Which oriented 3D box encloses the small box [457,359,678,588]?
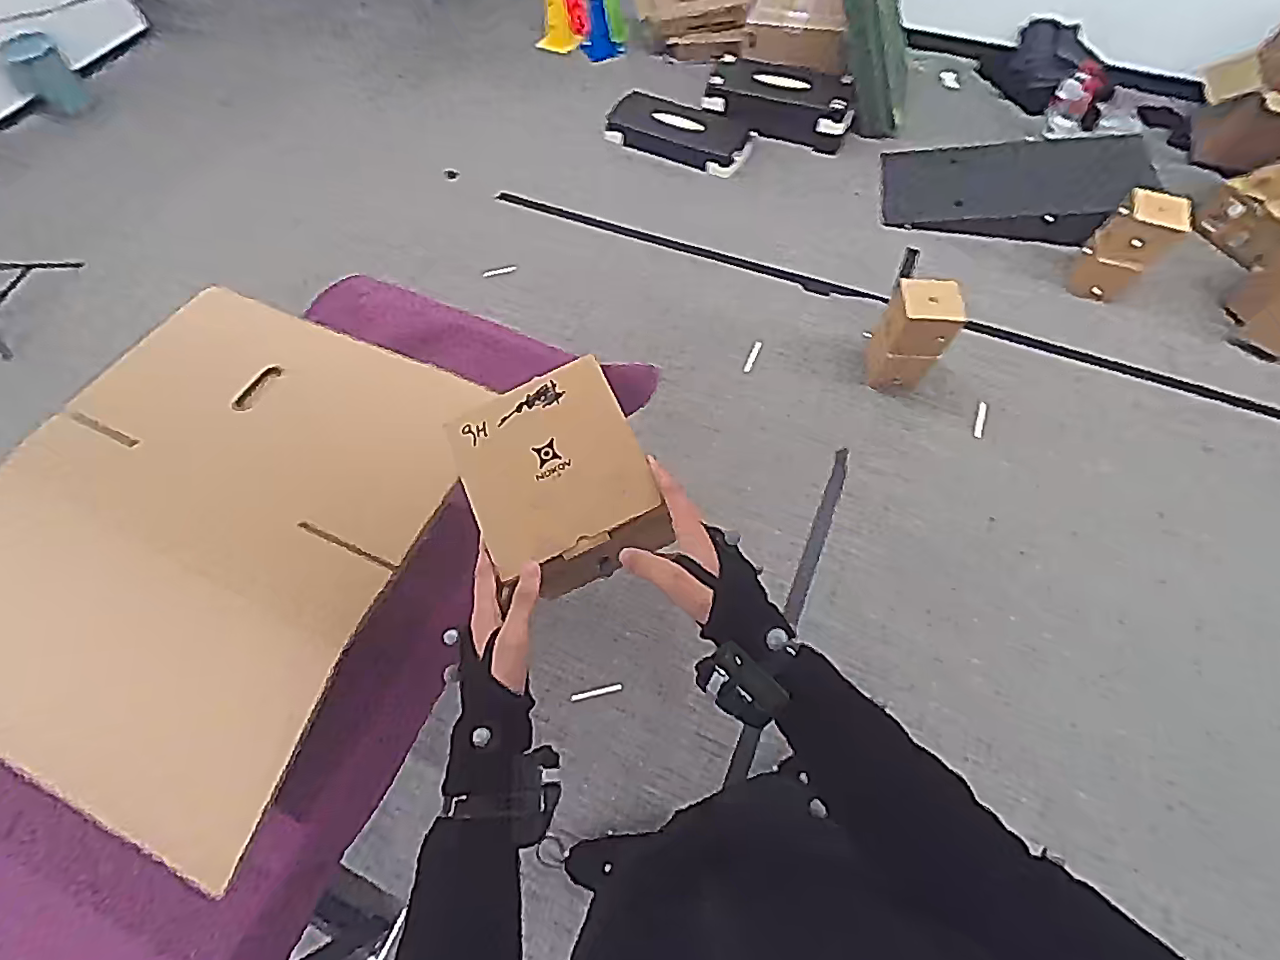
[{"bbox_3d":[-0.065,0.008,0.586,0.168,0.176,0.179,-25,72,-2],"label":"small box"}]
